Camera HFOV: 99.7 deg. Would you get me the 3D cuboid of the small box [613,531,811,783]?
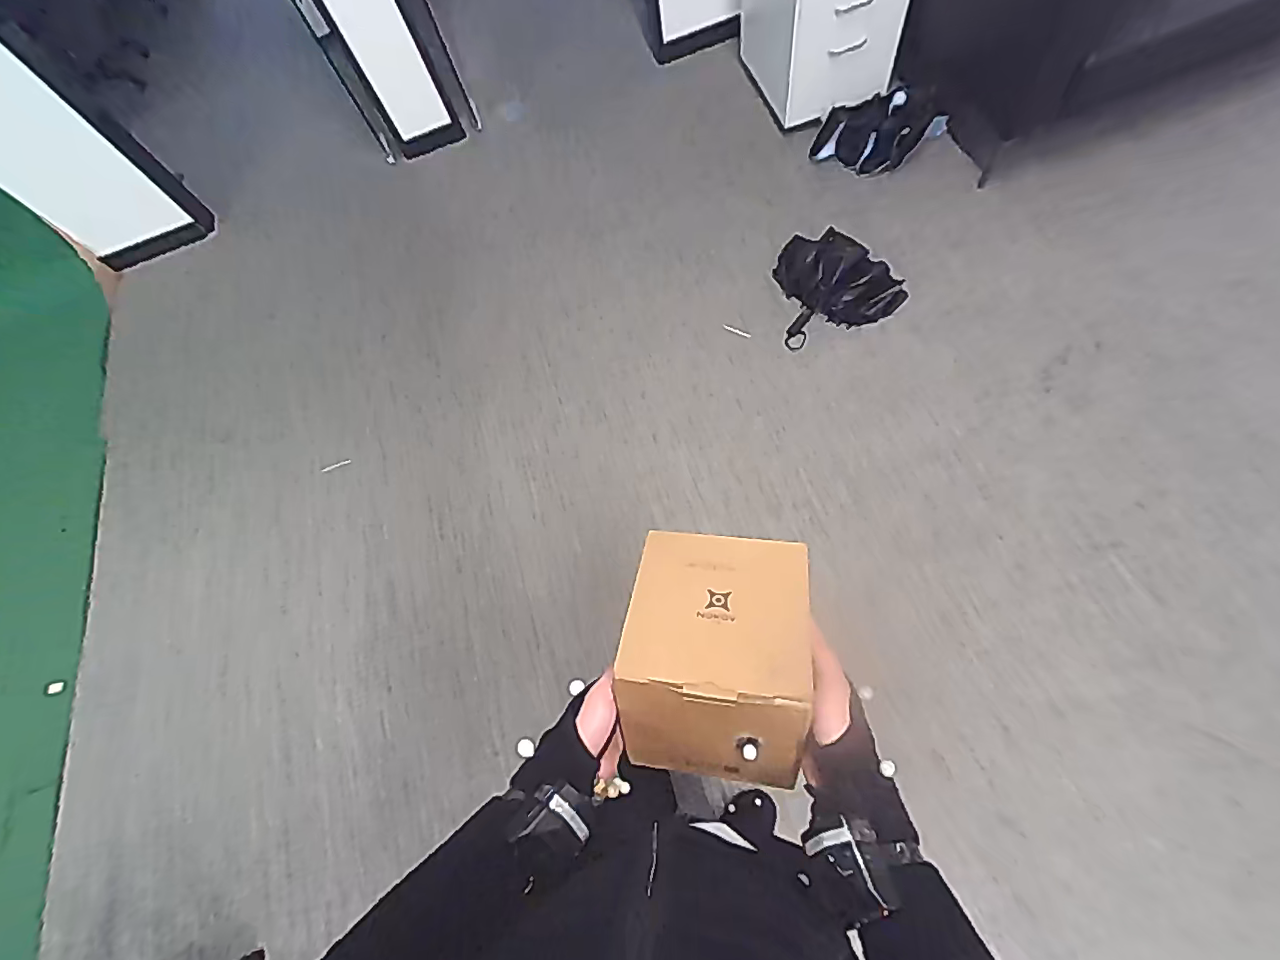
[{"bbox_3d":[0.078,0.177,0.551,0.168,0.176,0.179,5,39,10],"label":"small box"}]
